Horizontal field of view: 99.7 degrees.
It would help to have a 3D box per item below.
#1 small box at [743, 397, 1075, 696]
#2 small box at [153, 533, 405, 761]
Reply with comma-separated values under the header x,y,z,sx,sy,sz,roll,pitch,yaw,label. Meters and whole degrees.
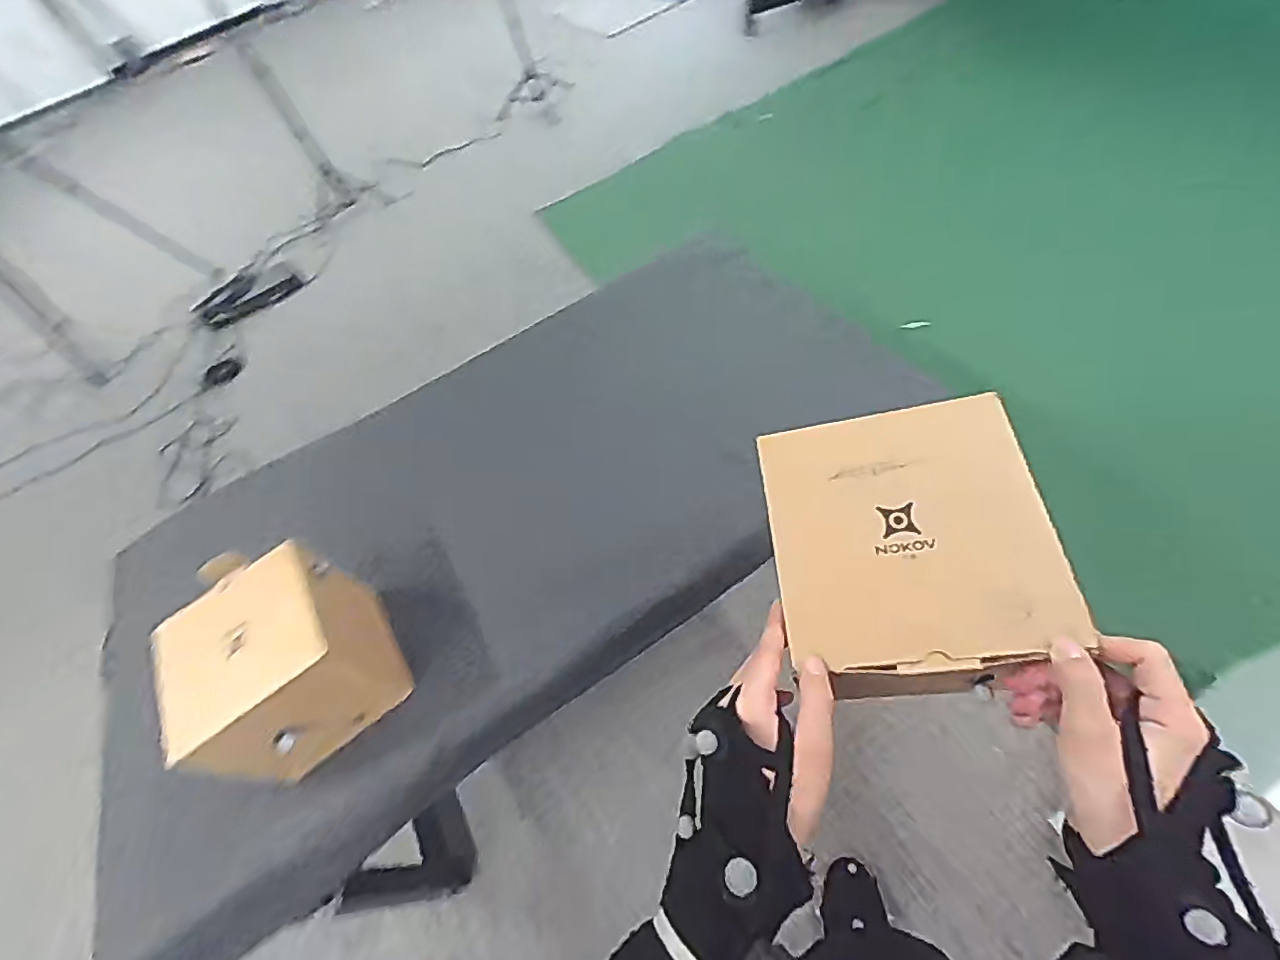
x,y,z,sx,sy,sz,roll,pitch,yaw,label
0.181,0.067,0.419,0.168,0.176,0.179,-10,60,13,small box
-0.407,0.201,0.630,0.168,0.176,0.179,-35,55,-12,small box
